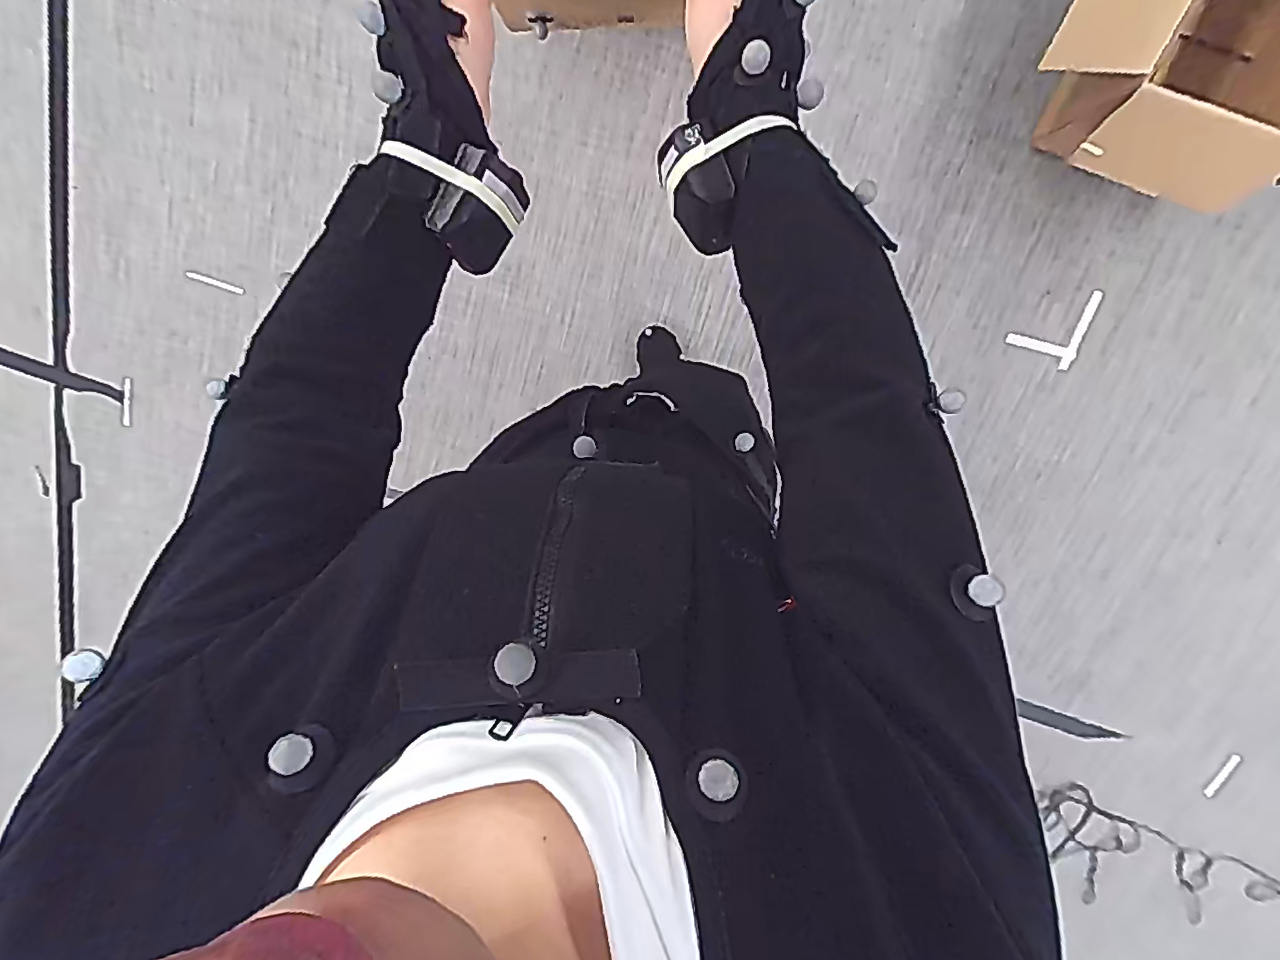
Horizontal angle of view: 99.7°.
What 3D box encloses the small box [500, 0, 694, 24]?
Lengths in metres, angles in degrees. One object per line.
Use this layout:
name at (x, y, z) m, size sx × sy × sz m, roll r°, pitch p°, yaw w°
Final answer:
small box at (-0.036, -0.446, 0.371) m, size 0.168 × 0.176 × 0.179 m, roll -3°, pitch 112°, yaw 0°
